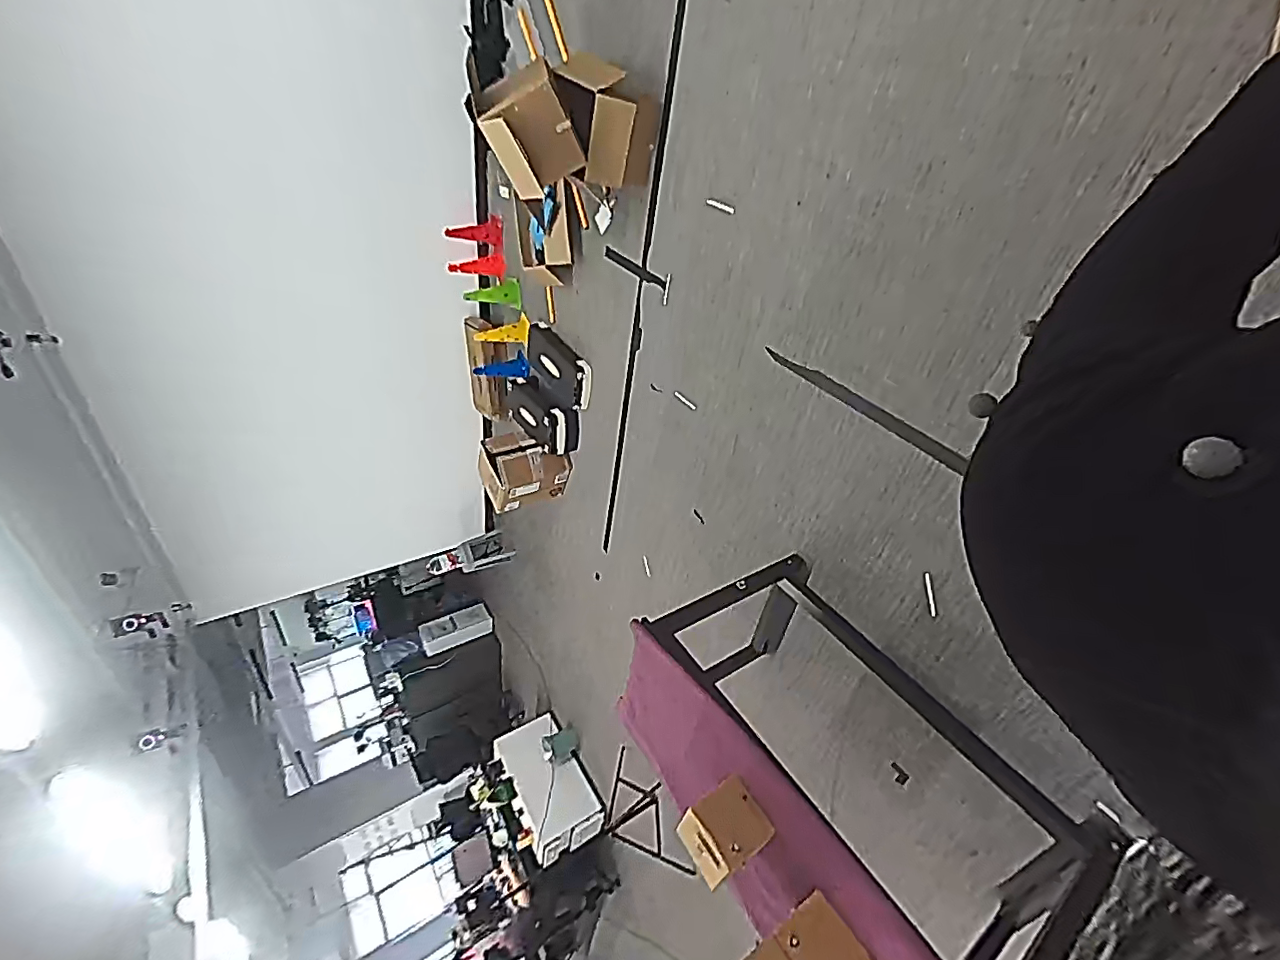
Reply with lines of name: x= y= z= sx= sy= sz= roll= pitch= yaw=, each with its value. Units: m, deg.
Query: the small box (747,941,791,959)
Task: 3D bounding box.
small box: x=0.275 y=1.149 z=1.165 sx=0.179 sy=0.176 sz=0.168 roll=42 pitch=137 yaw=41

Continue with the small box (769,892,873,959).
small box: x=0.411 y=1.116 z=1.251 sx=0.179 sy=0.176 sz=0.168 roll=43 pitch=137 yaw=41
